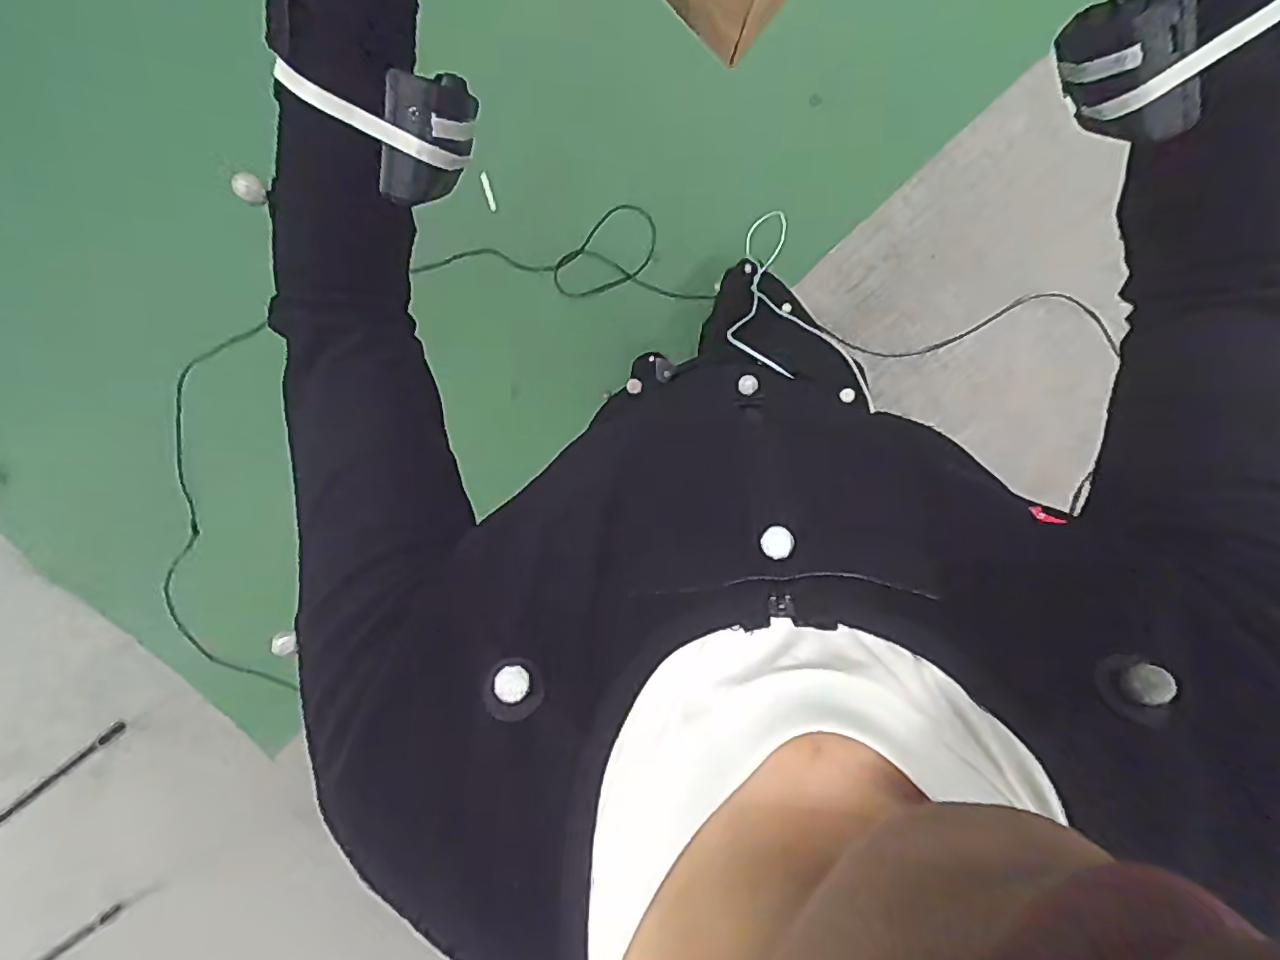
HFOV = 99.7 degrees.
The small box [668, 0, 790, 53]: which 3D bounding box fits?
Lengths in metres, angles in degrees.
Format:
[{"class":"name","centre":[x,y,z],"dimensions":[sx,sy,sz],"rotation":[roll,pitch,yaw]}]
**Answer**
[{"class":"small box","centre":[0.051,-0.365,0.255],"dimensions":[0.179,0.176,0.168],"rotation":[41,104,-12]}]
